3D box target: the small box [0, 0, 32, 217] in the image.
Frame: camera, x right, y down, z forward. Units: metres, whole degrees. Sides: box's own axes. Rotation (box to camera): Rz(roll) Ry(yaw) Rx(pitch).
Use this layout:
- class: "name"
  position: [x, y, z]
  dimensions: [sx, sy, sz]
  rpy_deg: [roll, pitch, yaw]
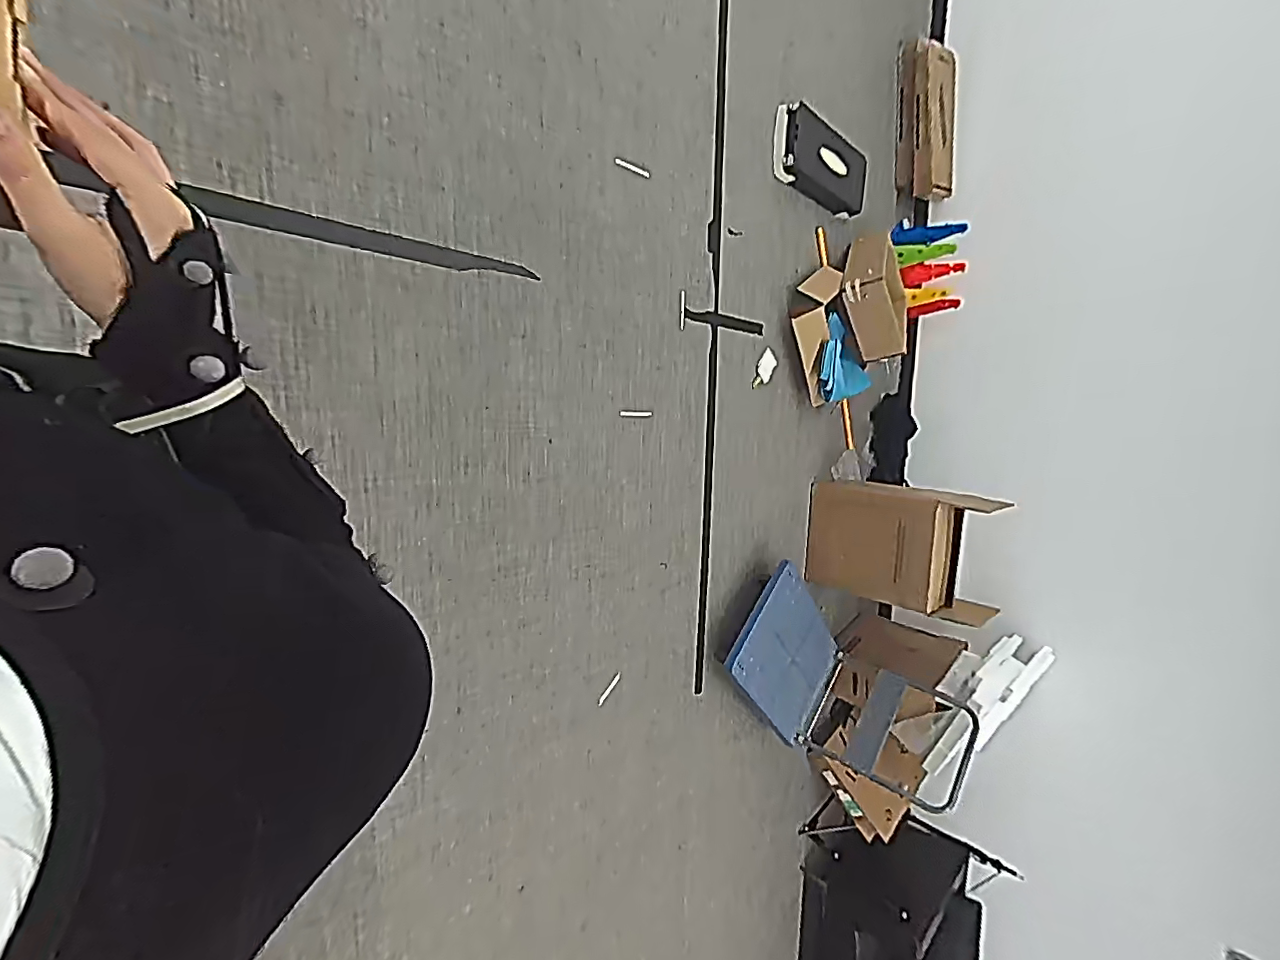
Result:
- class: "small box"
  position: [-0.406, -0.239, 0.240]
  dimensions: [0.179, 0.176, 0.168]
  rpy_deg: [-3, 97, -49]
